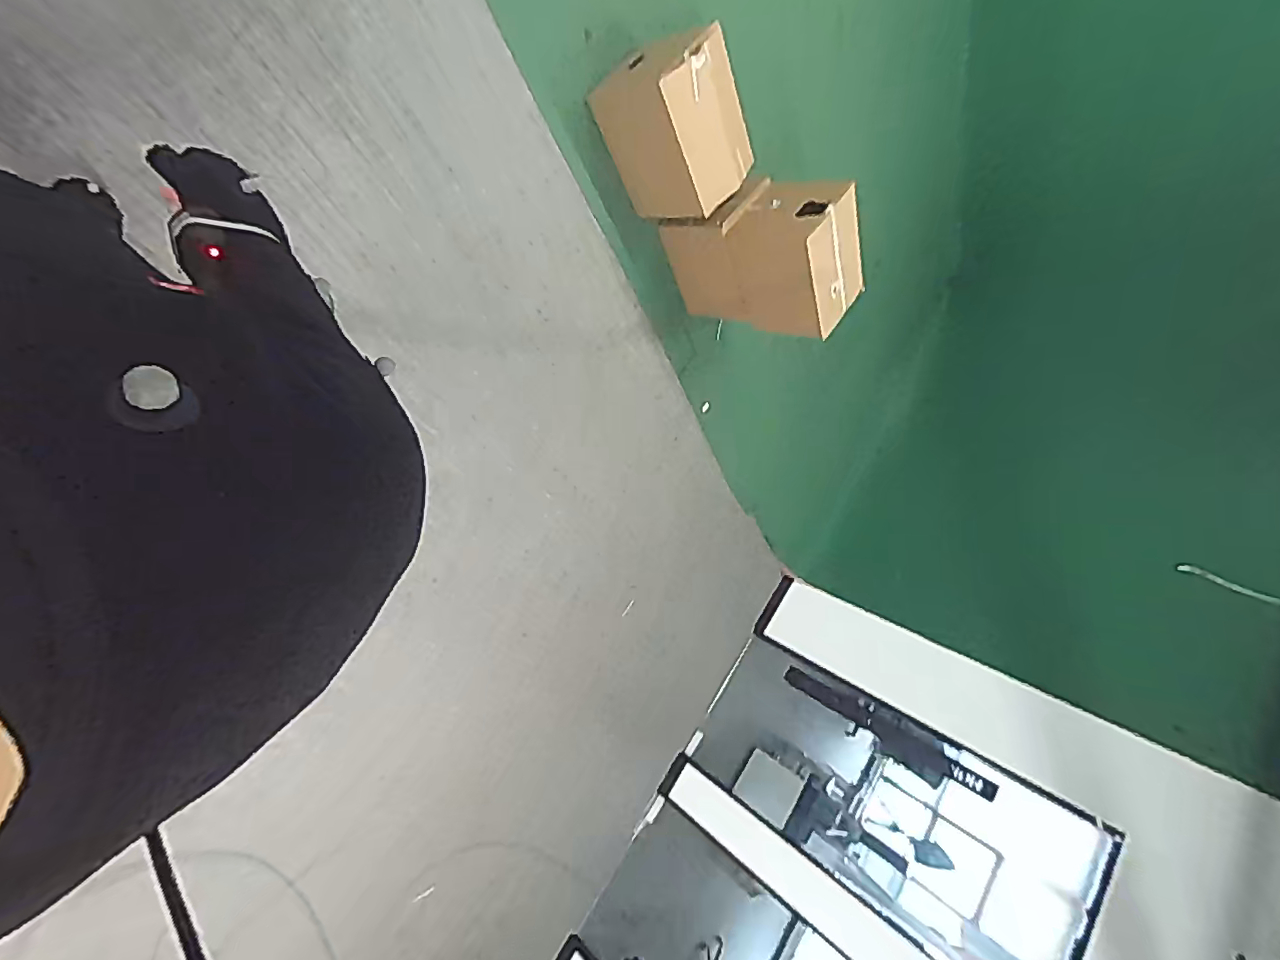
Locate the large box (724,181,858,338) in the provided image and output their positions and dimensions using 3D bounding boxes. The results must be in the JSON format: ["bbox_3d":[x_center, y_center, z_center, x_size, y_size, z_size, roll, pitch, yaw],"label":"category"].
[{"bbox_3d":[0.543,-0.778,1.914,0.320,0.320,0.408,-51,140,-17],"label":"large box"}]
